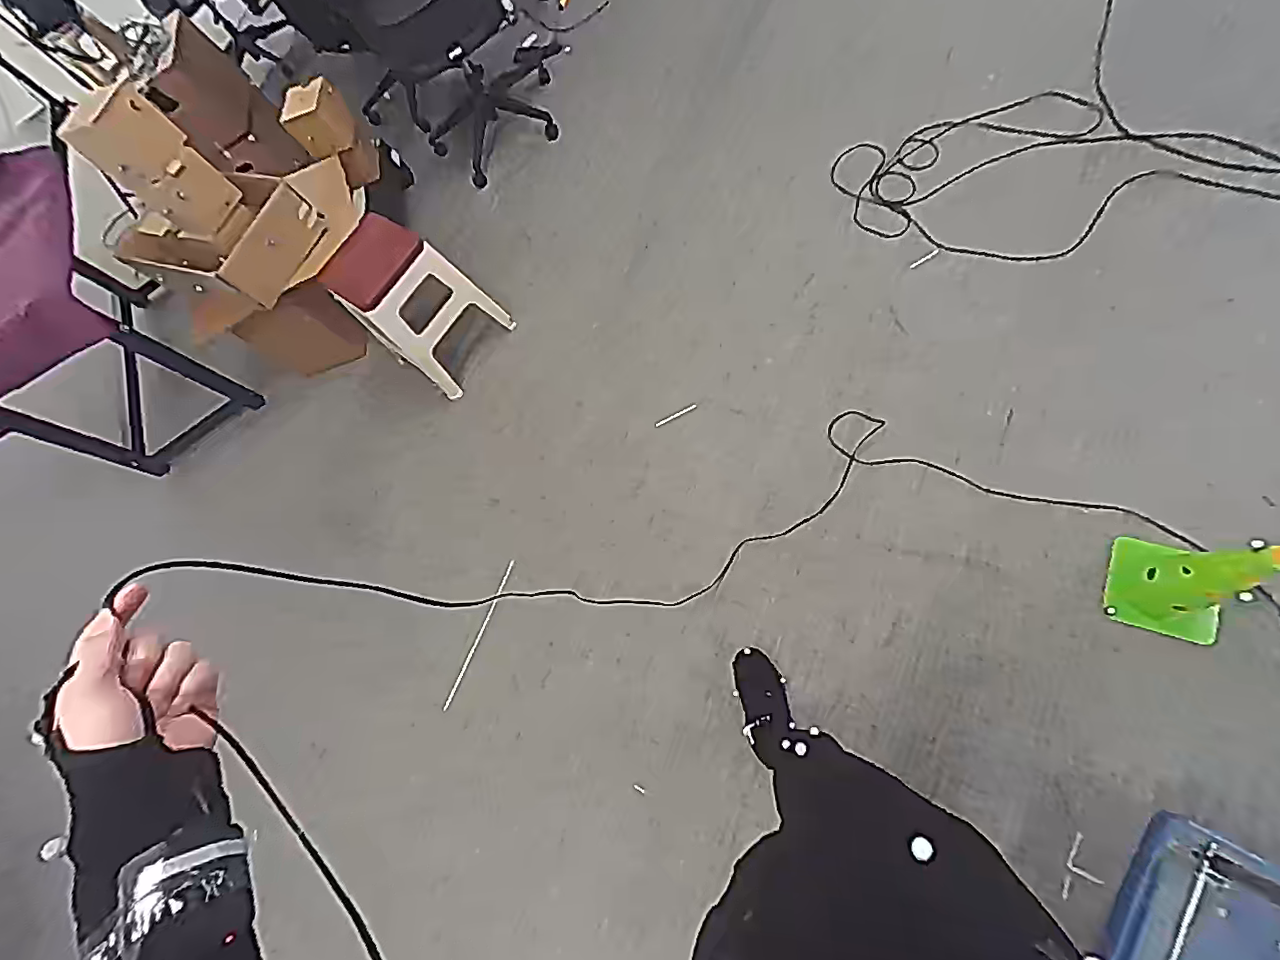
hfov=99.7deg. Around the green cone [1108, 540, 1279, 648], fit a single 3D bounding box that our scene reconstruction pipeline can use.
[{"bbox_3d":[1.118,0.189,1.041,0.200,0.368,0.202,15,75,22],"label":"green cone"}]
